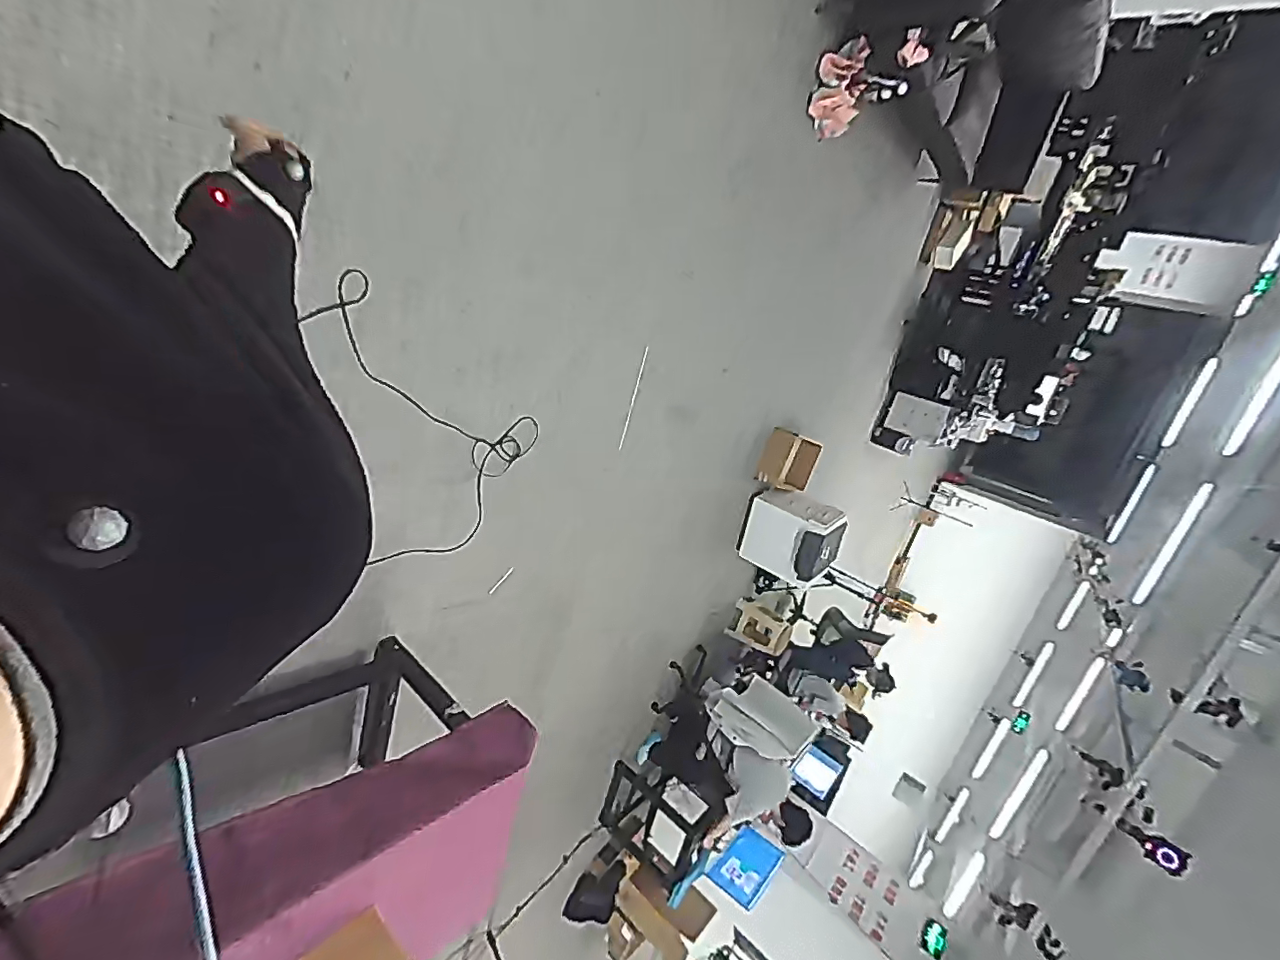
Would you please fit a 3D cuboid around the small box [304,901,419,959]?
[{"bbox_3d":[-0.625,1.107,1.206,0.179,0.176,0.168,-10,121,-49],"label":"small box"}]
